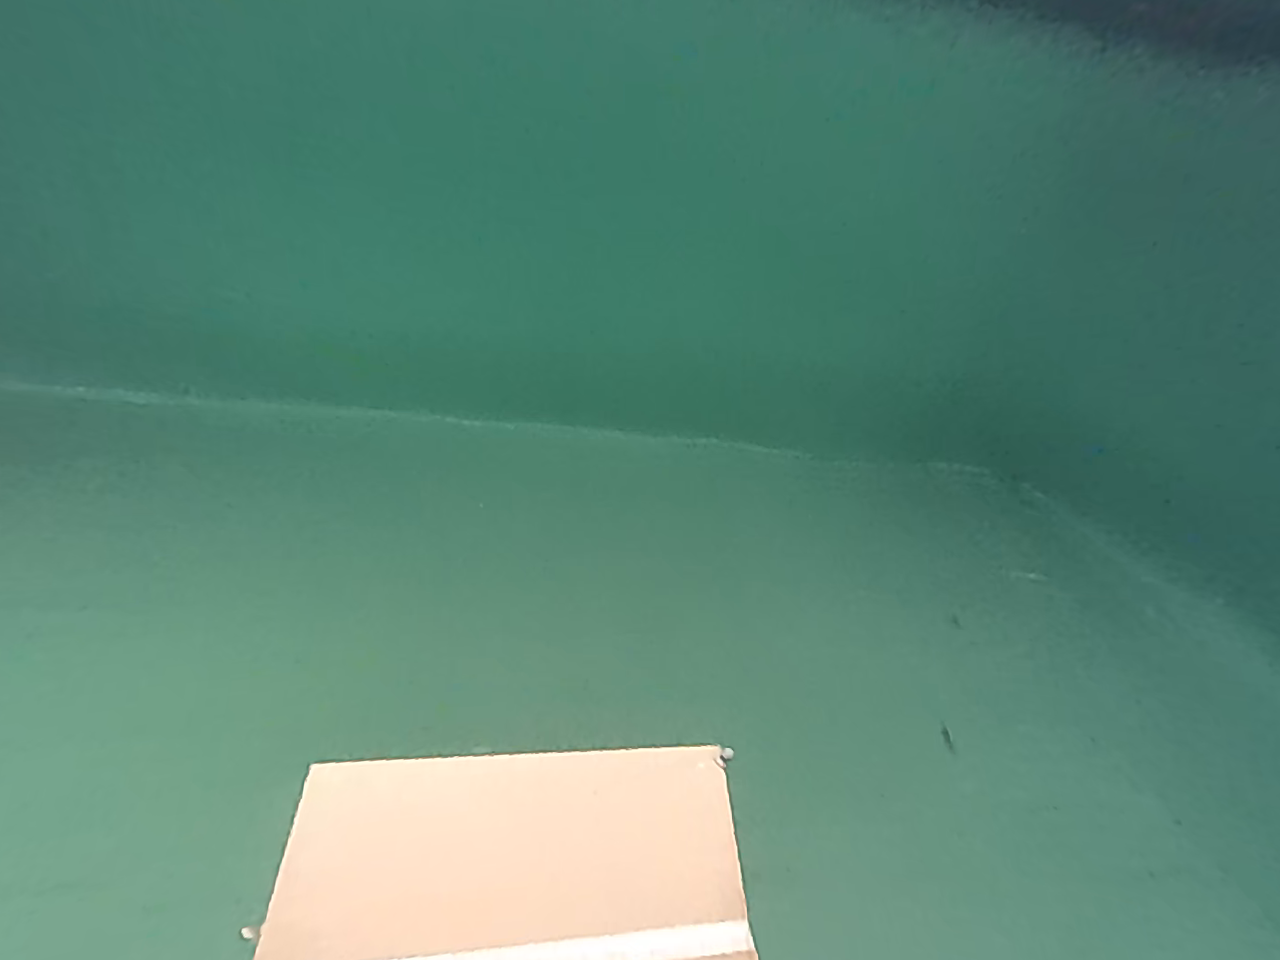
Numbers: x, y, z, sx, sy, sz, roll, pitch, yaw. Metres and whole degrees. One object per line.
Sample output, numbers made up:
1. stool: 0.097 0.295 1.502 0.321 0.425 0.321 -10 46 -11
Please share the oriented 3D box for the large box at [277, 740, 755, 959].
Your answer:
1. large box: -0.121 0.492 0.570 0.408 0.320 0.320 2 50 -11
